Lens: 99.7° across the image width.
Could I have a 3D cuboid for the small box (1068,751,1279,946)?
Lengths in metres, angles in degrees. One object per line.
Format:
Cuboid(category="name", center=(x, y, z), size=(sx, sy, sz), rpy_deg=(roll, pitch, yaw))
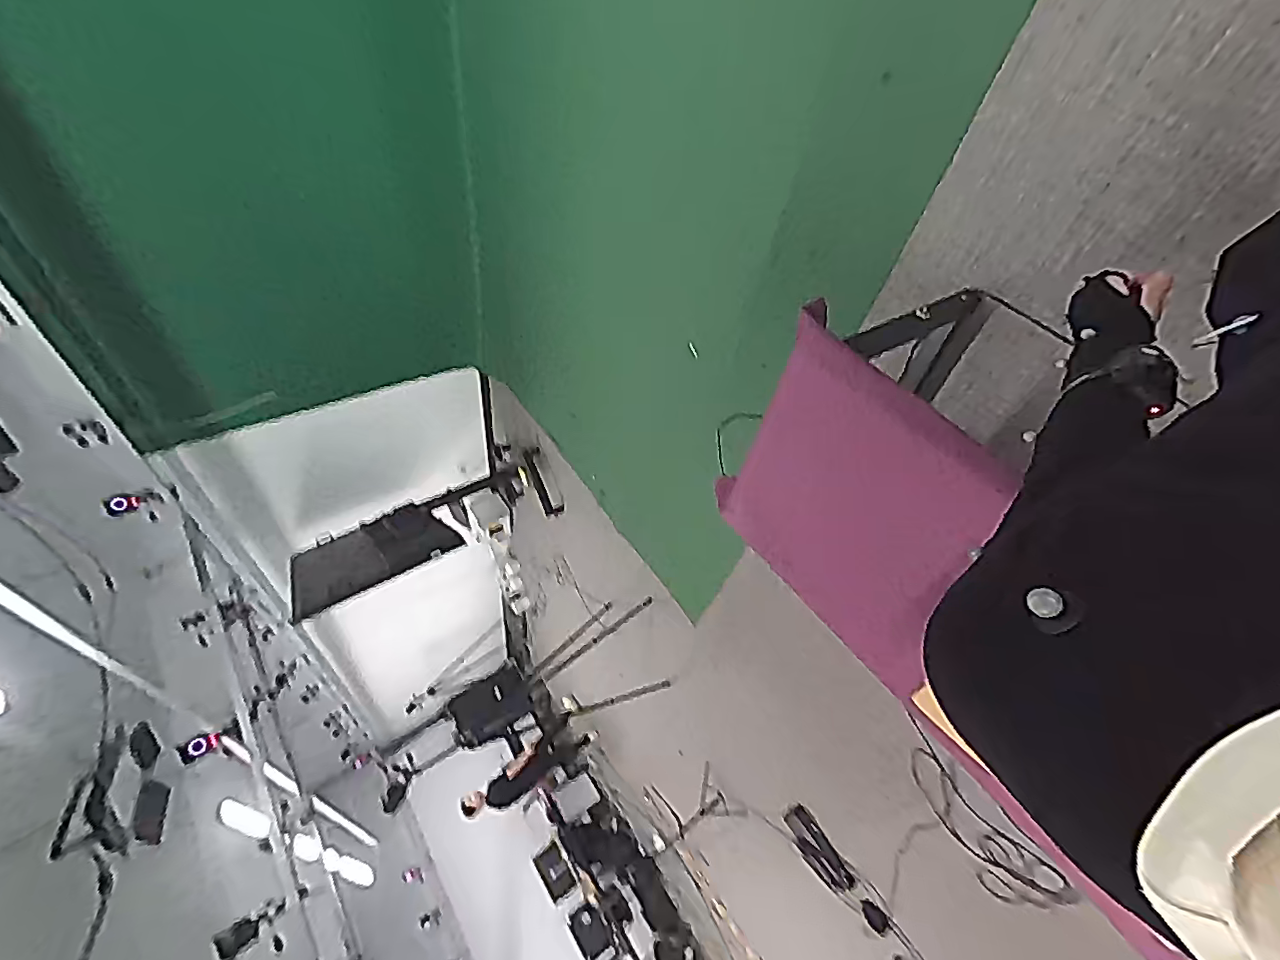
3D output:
Cuboid(category="small box", center=(0.813, 0.547, 0.815), size=(0.168, 0.176, 0.179), rpy_deg=(46, 147, 31))
